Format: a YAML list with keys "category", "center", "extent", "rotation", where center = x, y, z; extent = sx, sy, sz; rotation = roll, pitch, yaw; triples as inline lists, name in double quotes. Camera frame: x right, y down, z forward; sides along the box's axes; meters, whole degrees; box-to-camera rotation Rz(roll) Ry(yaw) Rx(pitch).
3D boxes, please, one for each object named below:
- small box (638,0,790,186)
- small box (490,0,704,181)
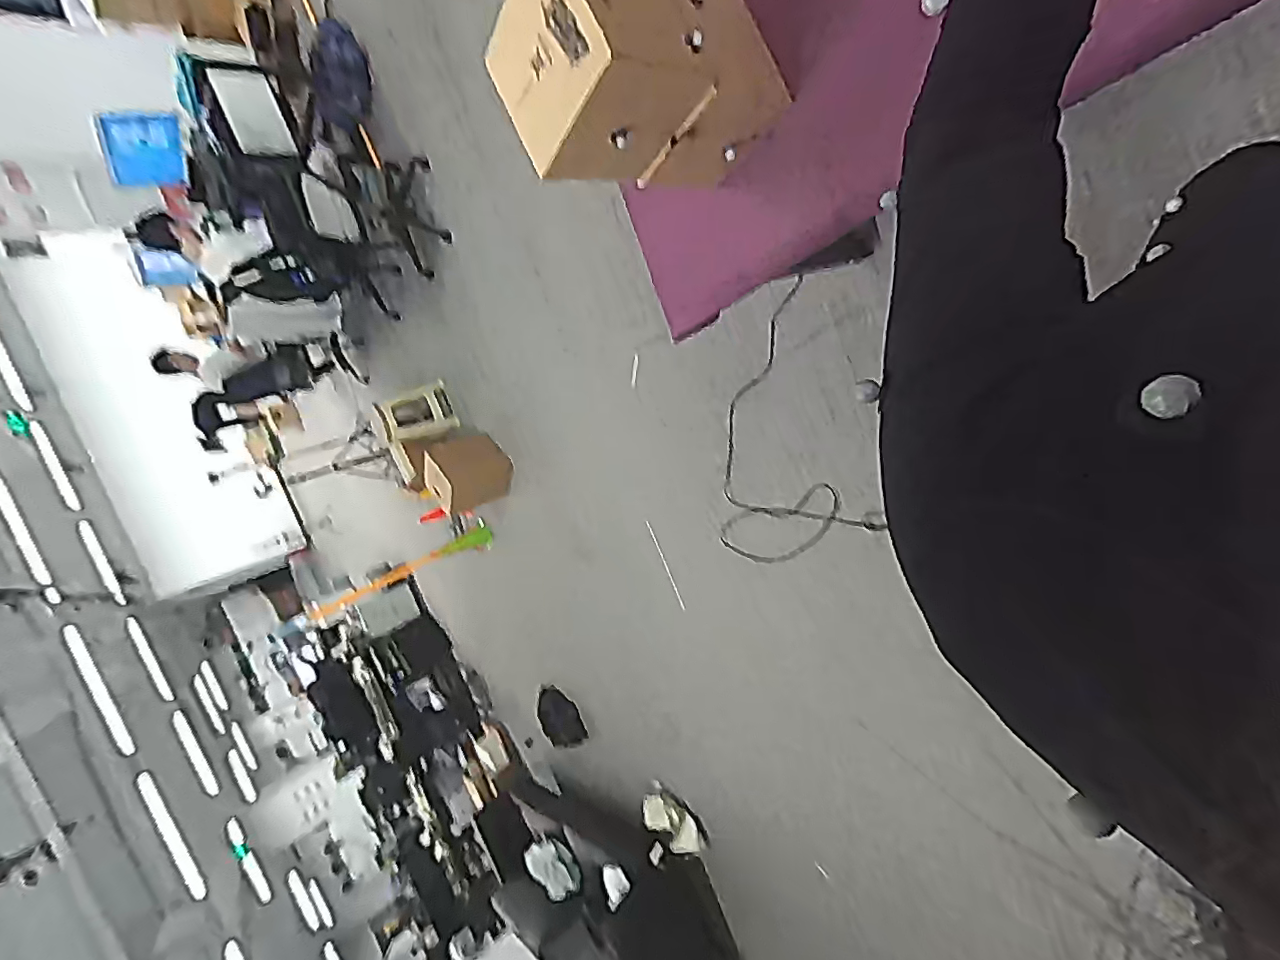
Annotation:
- category: "small box"
  center: [0.073, -0.537, 0.753]
  extent: [0.168, 0.176, 0.179]
  rotation: [-26, 89, 53]
- category: "small box"
  center: [-0.046, -0.488, 0.645]
  extent: [0.179, 0.176, 0.168]
  rotation: [-22, 90, 52]
